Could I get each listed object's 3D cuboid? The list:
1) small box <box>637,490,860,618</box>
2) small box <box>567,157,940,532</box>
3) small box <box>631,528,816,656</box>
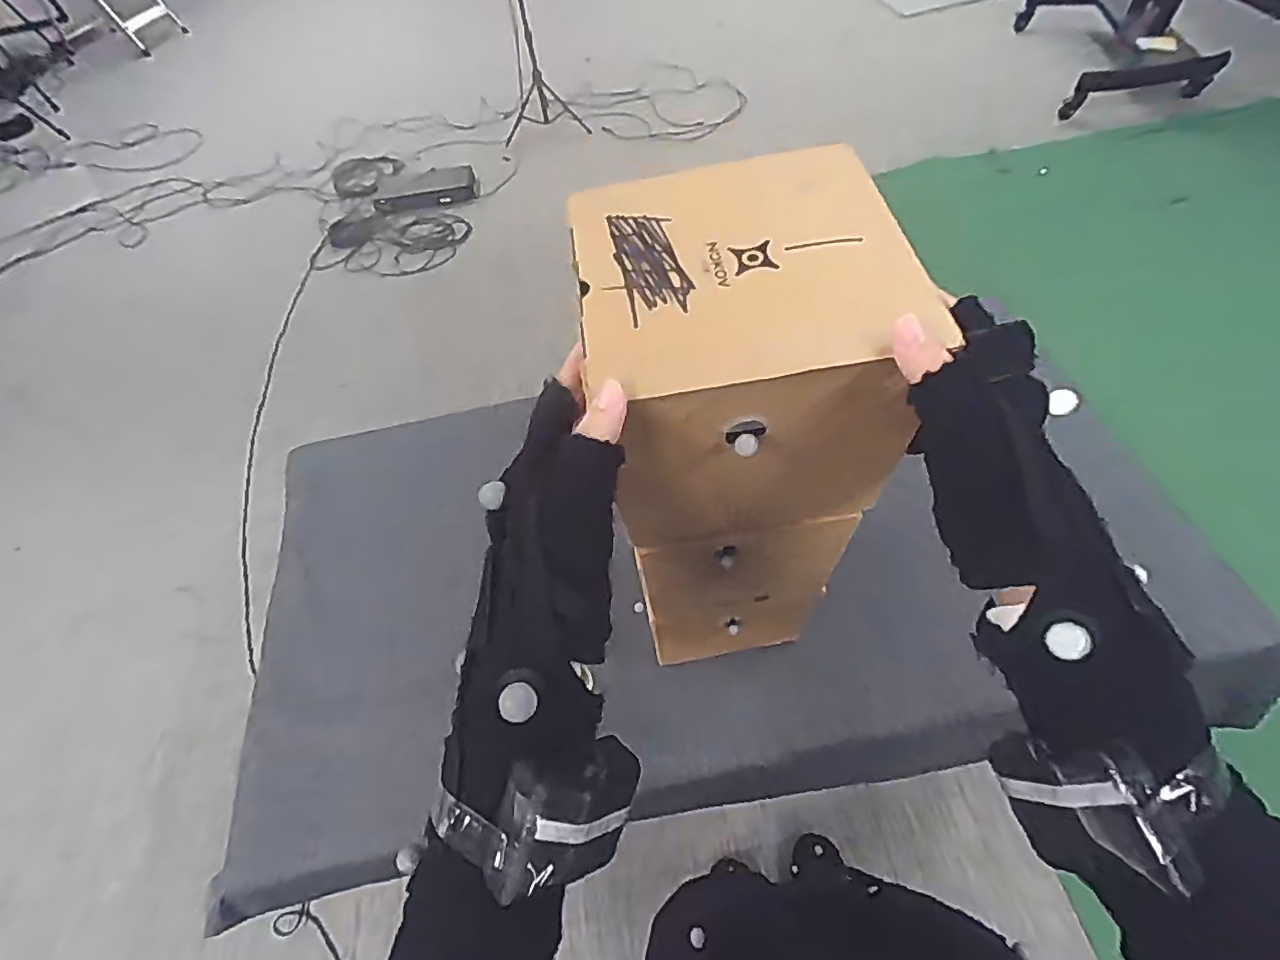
[{"bbox_3d":[0.075,0.009,0.511,0.168,0.176,0.179,-12,59,-2],"label":"small box"},{"bbox_3d":[0.057,-0.077,0.365,0.179,0.176,0.168,-9,60,1],"label":"small box"},{"bbox_3d":[0.087,0.098,0.646,0.179,0.176,0.168,-10,58,-1],"label":"small box"}]
